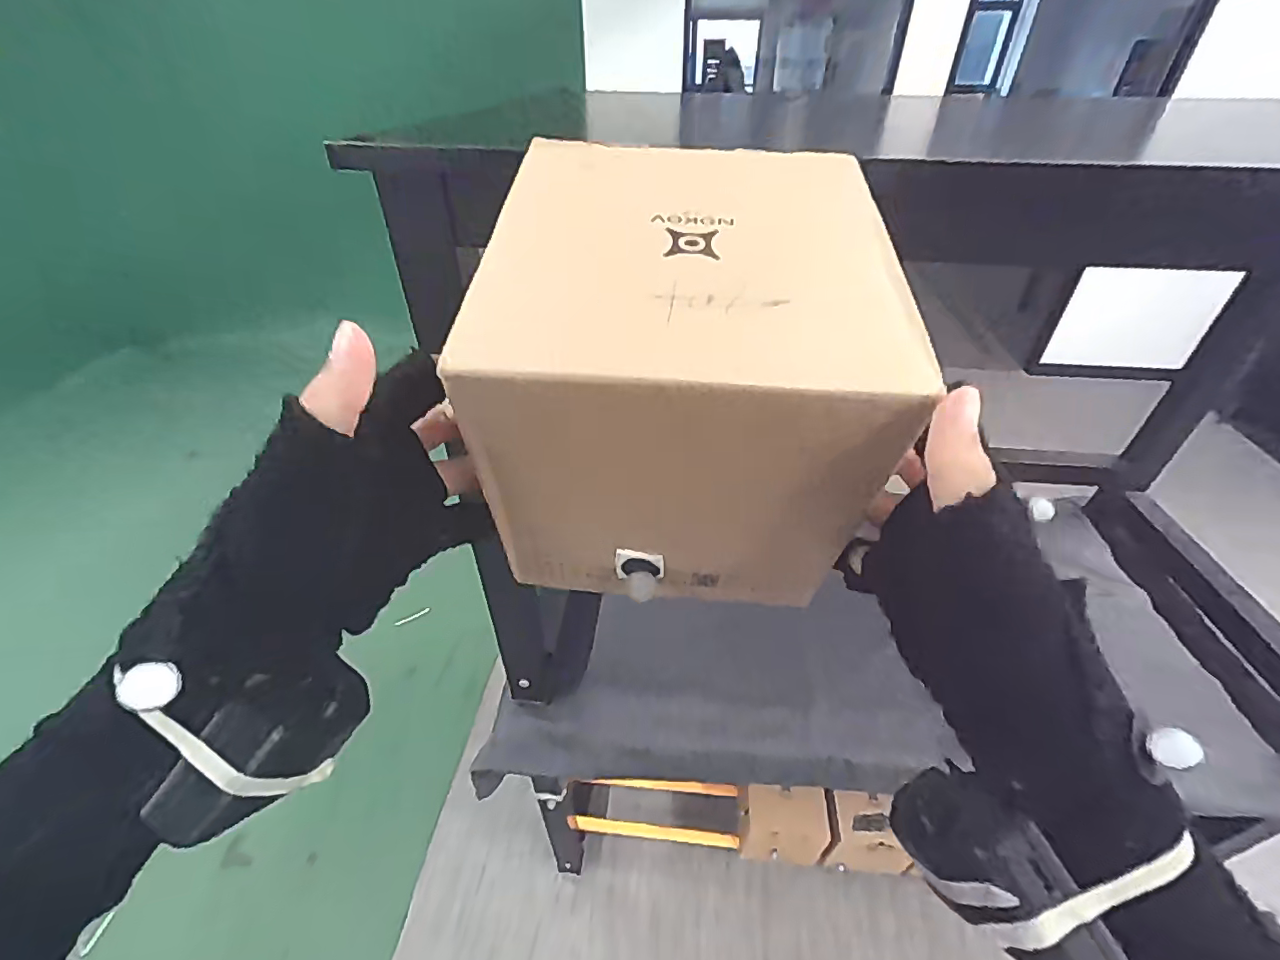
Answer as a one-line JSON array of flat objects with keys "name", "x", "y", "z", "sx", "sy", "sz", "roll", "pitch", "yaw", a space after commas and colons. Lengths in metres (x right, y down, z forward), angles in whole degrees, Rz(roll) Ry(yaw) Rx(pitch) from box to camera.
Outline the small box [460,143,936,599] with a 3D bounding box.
[{"name": "small box", "x": 0.021, "y": -0.055, "z": 0.296, "sx": 0.168, "sy": 0.176, "sz": 0.179, "roll": 3, "pitch": 53, "yaw": 1}]
